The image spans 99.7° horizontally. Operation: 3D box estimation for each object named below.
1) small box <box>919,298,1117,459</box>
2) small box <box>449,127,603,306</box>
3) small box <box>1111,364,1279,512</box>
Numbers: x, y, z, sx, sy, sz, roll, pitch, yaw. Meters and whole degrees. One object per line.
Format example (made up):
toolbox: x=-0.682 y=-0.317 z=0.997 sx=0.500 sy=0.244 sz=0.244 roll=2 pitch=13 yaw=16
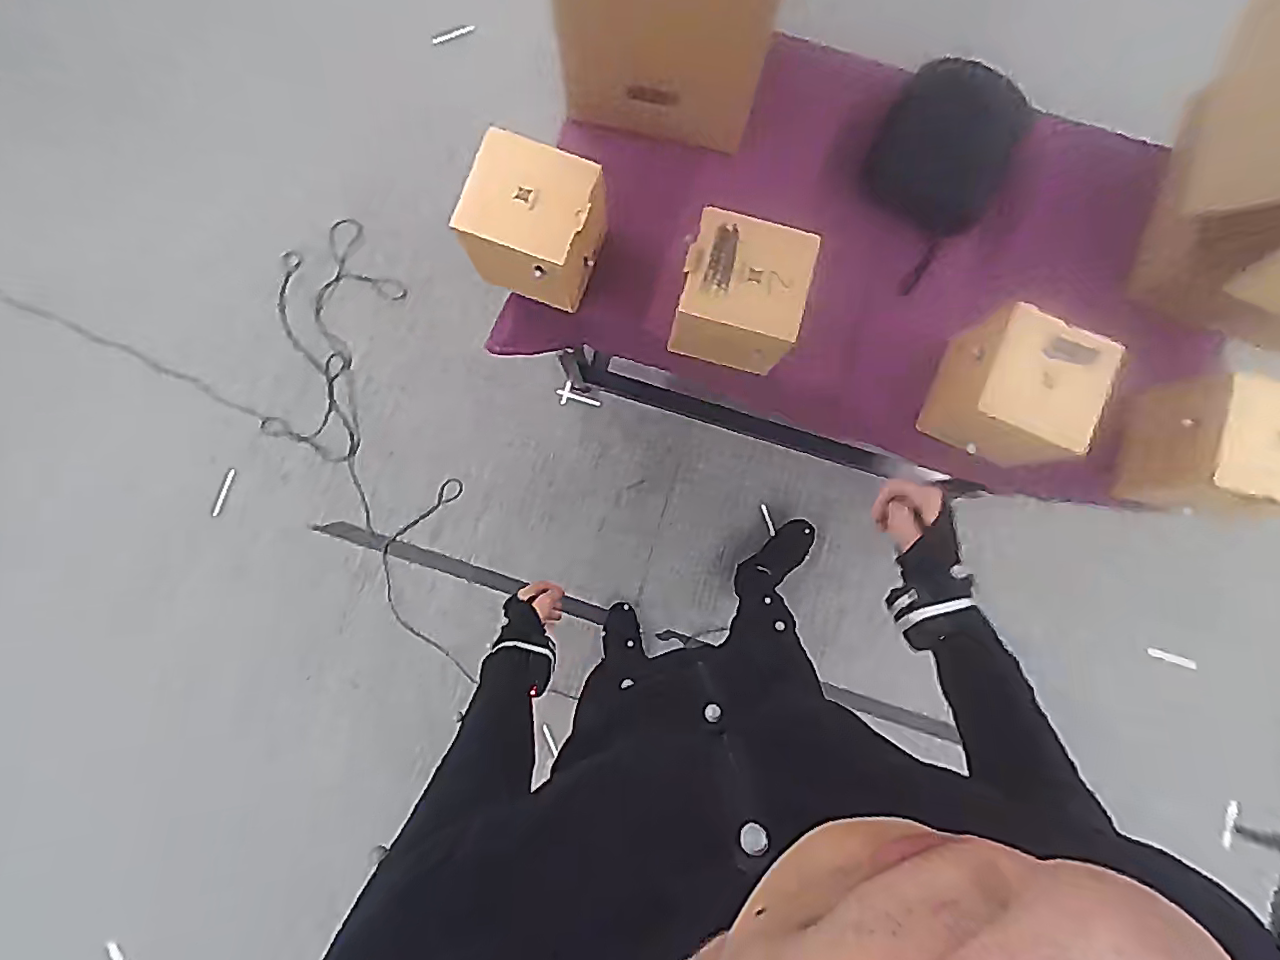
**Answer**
small box: x=0.575 y=-0.147 z=0.849 sx=0.168 sy=0.176 sz=0.179 roll=24 pitch=86 yaw=1
small box: x=-0.167 y=-0.400 z=0.851 sx=0.179 sy=0.176 sz=0.168 roll=19 pitch=85 yaw=0
small box: x=0.896 y=-0.056 z=0.846 sx=0.168 sy=0.176 sz=0.179 roll=17 pitch=85 yaw=1
